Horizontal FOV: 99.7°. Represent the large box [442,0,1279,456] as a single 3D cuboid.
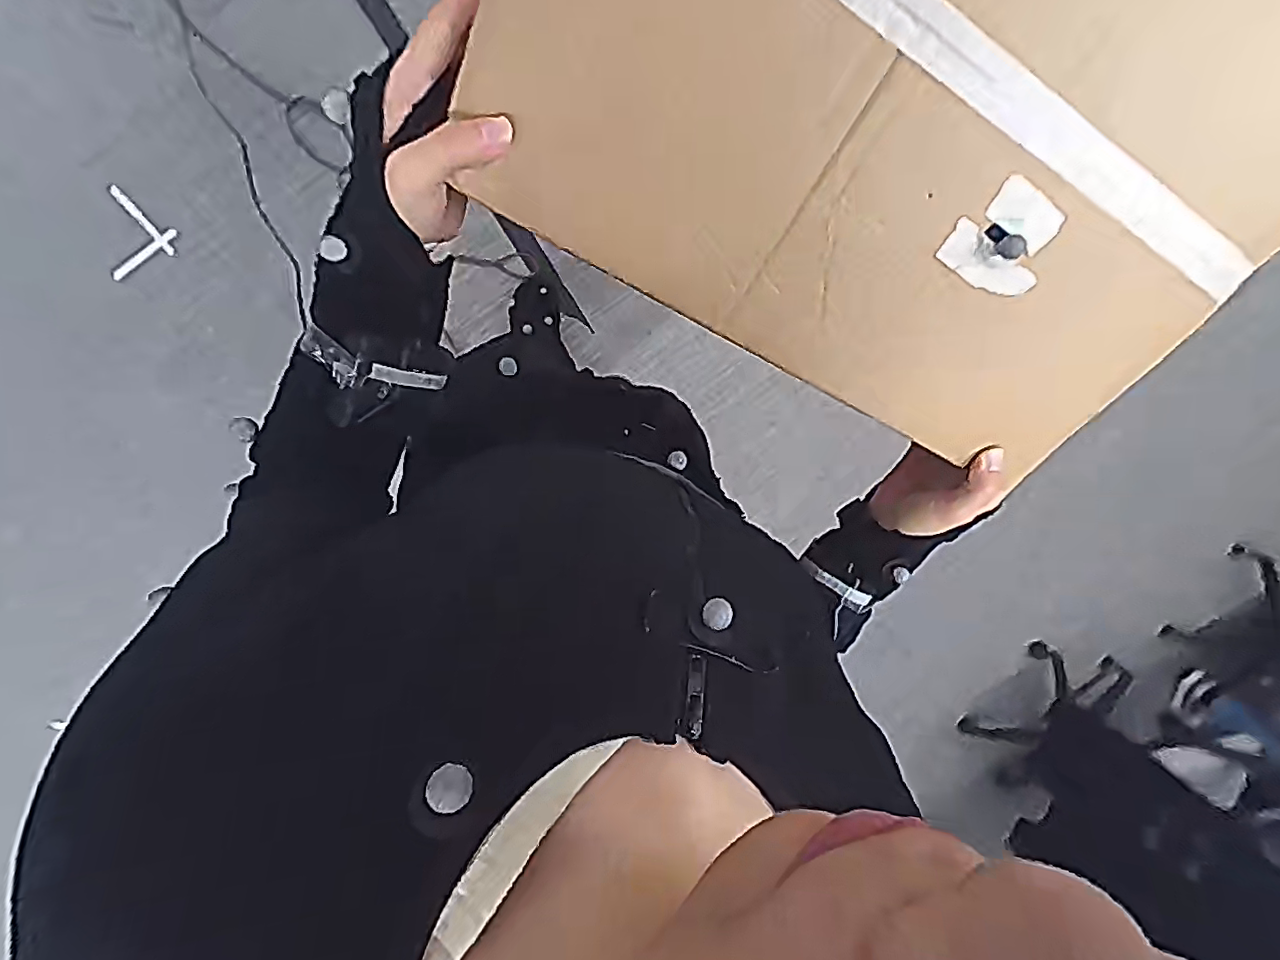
[{"bbox_3d":[0.135,-0.279,0.368,0.408,0.320,0.320,21,122,-17],"label":"large box"}]
